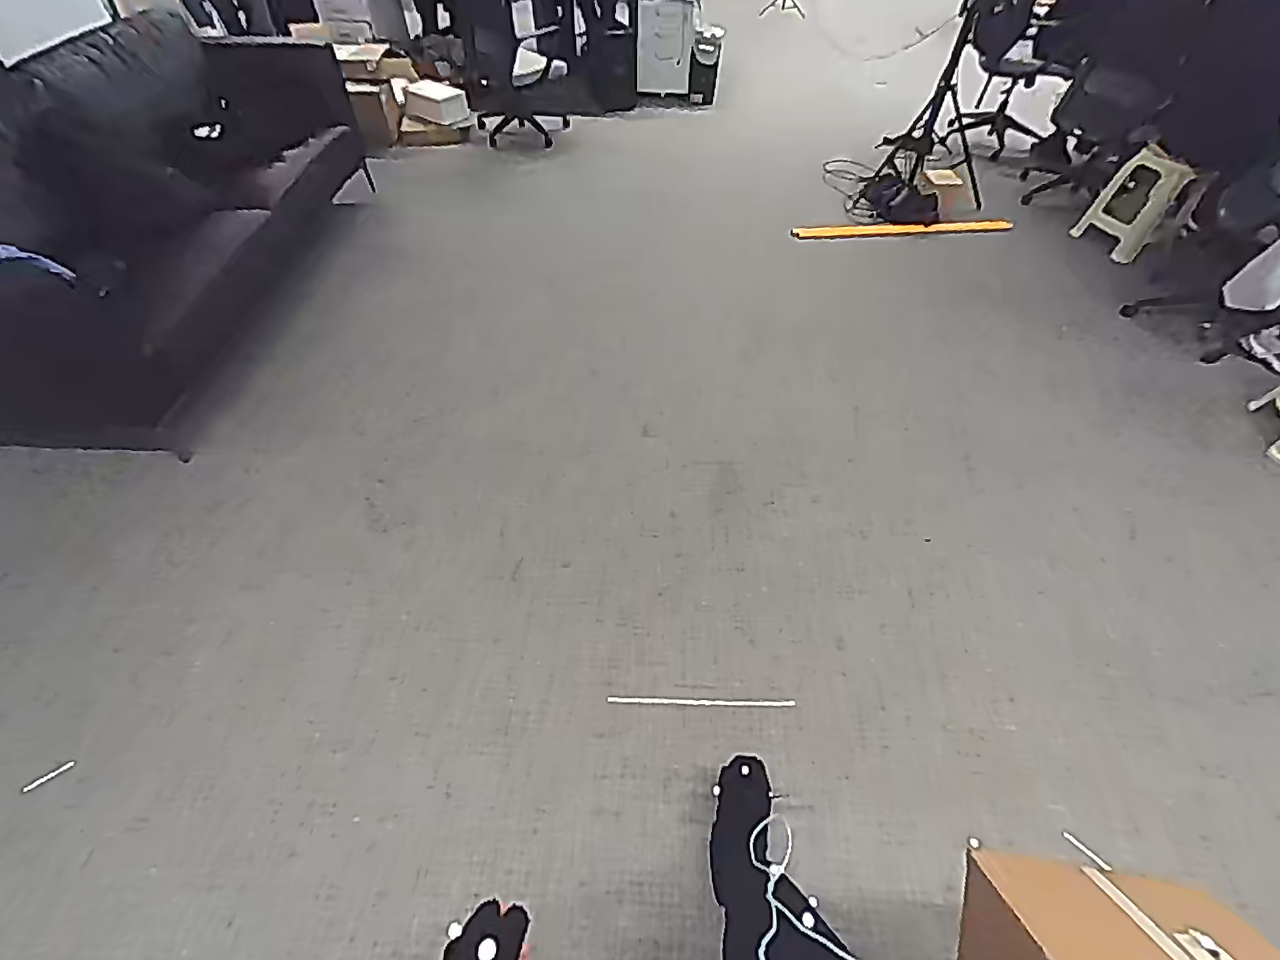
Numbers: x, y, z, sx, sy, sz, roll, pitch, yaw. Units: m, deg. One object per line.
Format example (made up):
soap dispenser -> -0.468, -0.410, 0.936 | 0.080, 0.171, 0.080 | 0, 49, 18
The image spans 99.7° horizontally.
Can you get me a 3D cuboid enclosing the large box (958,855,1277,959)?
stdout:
large box -> 0.590, 0.705, 0.575 | 0.320, 0.408, 0.320 | 7, 89, 6
